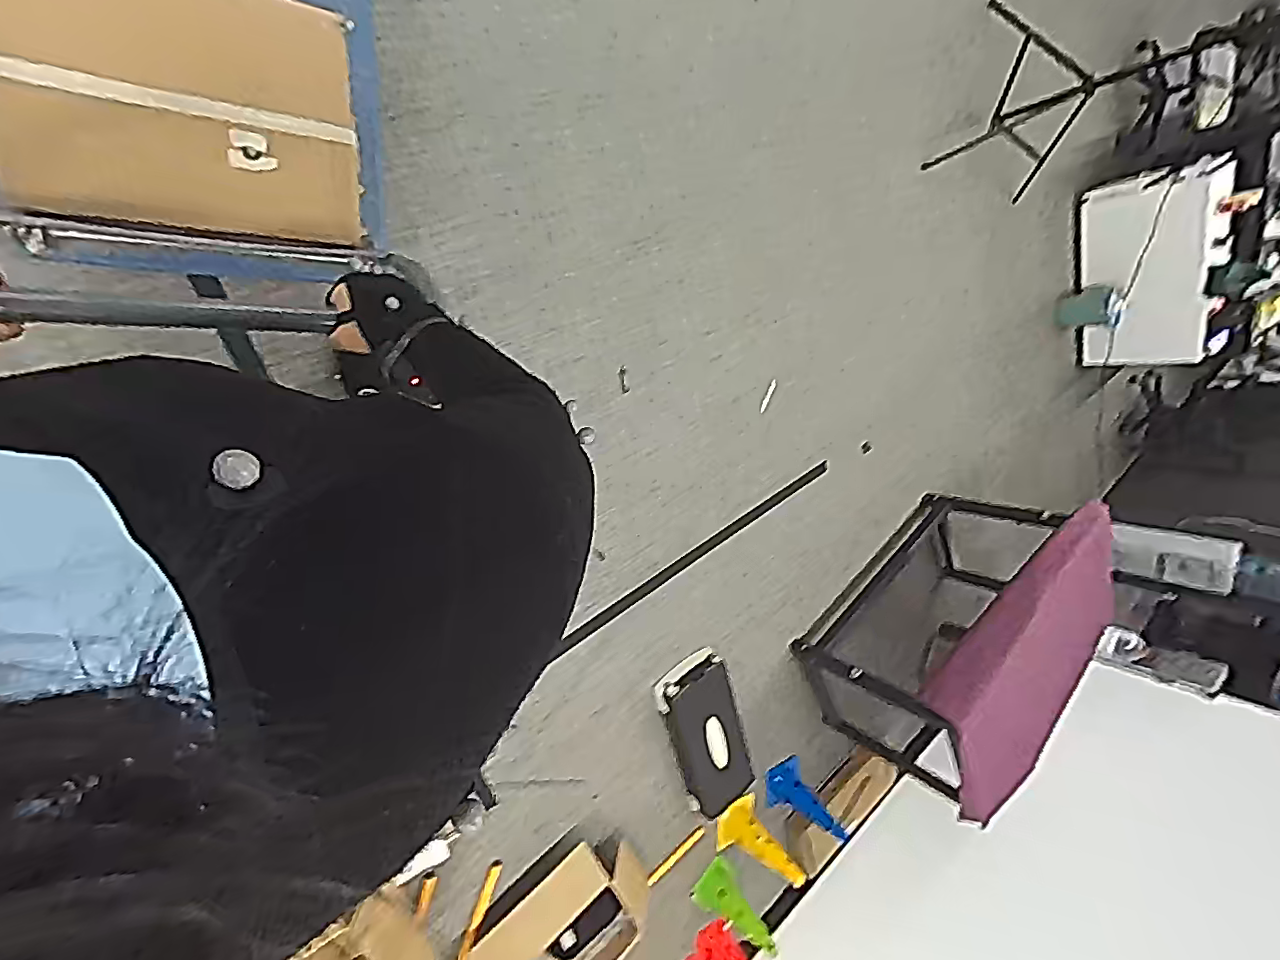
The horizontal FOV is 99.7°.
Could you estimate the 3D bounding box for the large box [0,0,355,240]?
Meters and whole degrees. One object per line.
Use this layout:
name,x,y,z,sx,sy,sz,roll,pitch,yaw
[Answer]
large box,-0.707,-0.571,0.851,0.408,0.320,0.320,-7,114,-34
